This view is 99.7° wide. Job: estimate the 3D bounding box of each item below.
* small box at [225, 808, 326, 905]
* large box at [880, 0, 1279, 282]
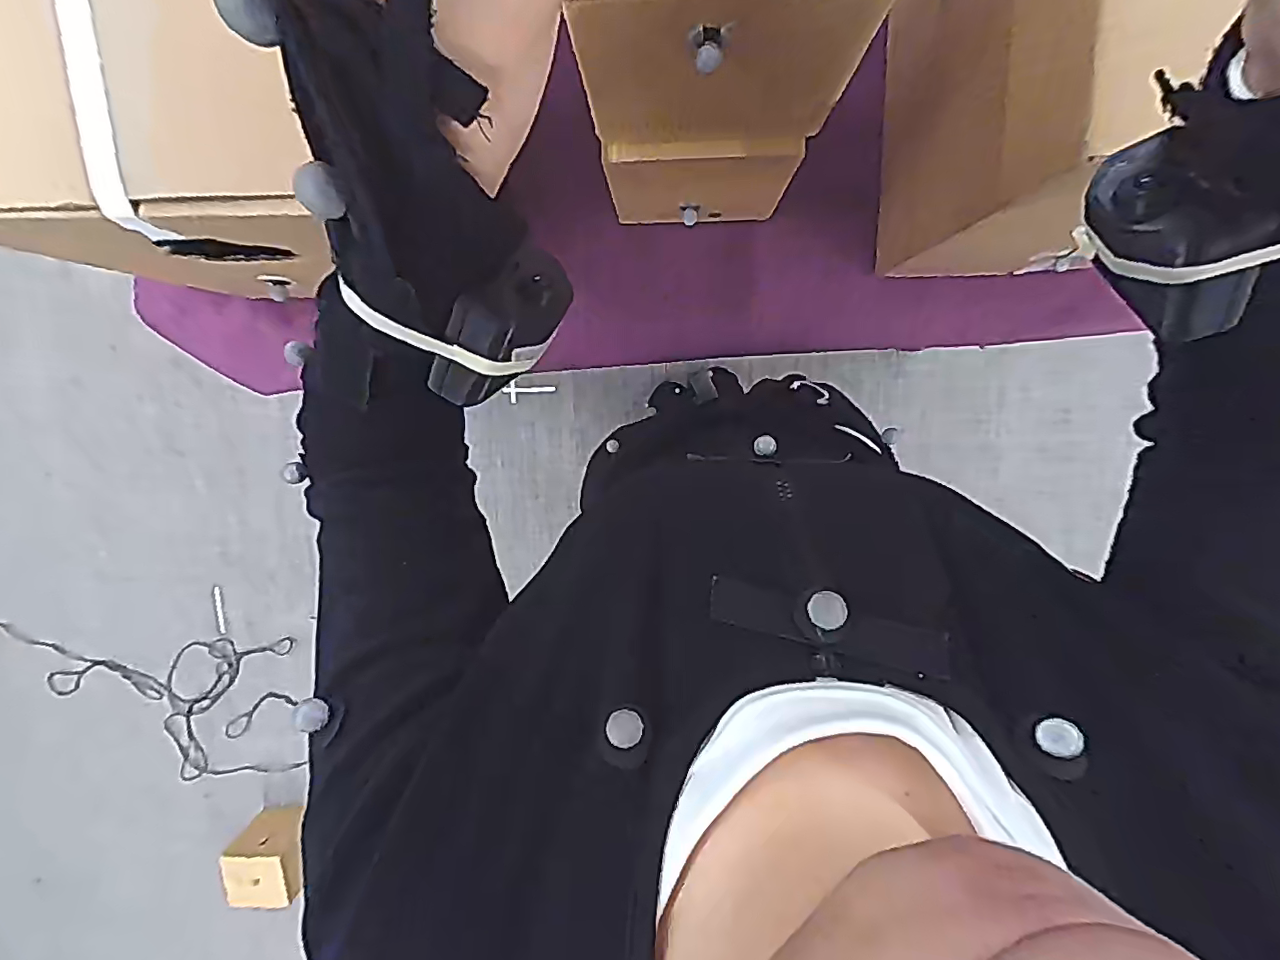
[{"bbox_3d":[-1.036,1.078,1.557,0.179,0.176,0.168,-2,100,4],"label":"small box"},{"bbox_3d":[0.392,-0.395,0.406,0.320,0.320,0.408,-1,98,3],"label":"large box"}]
